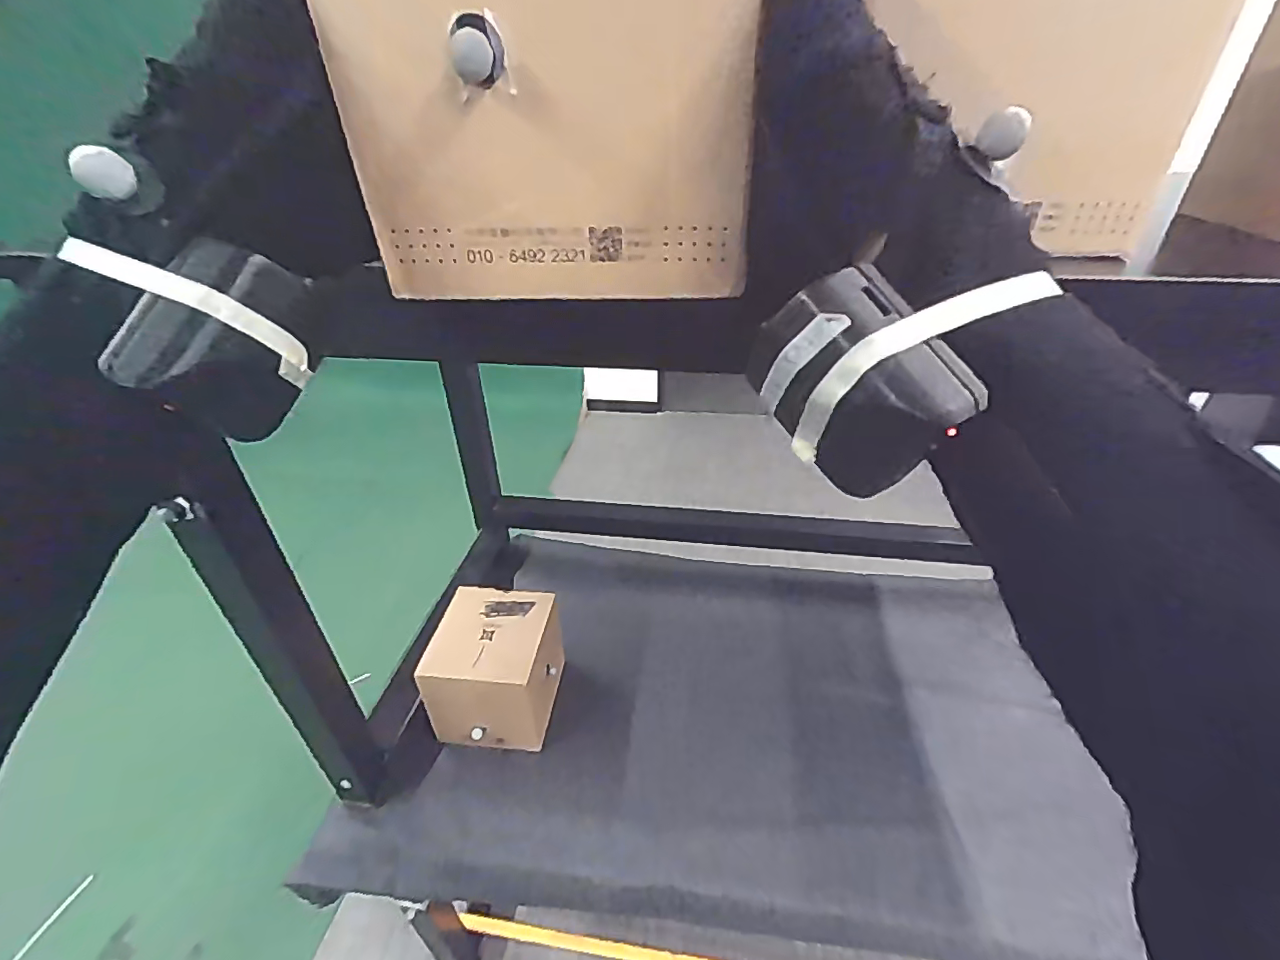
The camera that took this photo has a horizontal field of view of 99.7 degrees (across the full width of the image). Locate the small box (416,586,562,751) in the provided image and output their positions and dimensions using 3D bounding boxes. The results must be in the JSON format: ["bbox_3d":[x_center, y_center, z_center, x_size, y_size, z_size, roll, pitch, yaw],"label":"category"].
[{"bbox_3d":[-0.224,0.294,0.856,0.168,0.176,0.179,2,33,5],"label":"small box"}]

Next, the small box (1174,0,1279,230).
[{"bbox_3d":[0.466,-0.230,0.296,0.168,0.176,0.179,9,34,15],"label":"small box"}]
